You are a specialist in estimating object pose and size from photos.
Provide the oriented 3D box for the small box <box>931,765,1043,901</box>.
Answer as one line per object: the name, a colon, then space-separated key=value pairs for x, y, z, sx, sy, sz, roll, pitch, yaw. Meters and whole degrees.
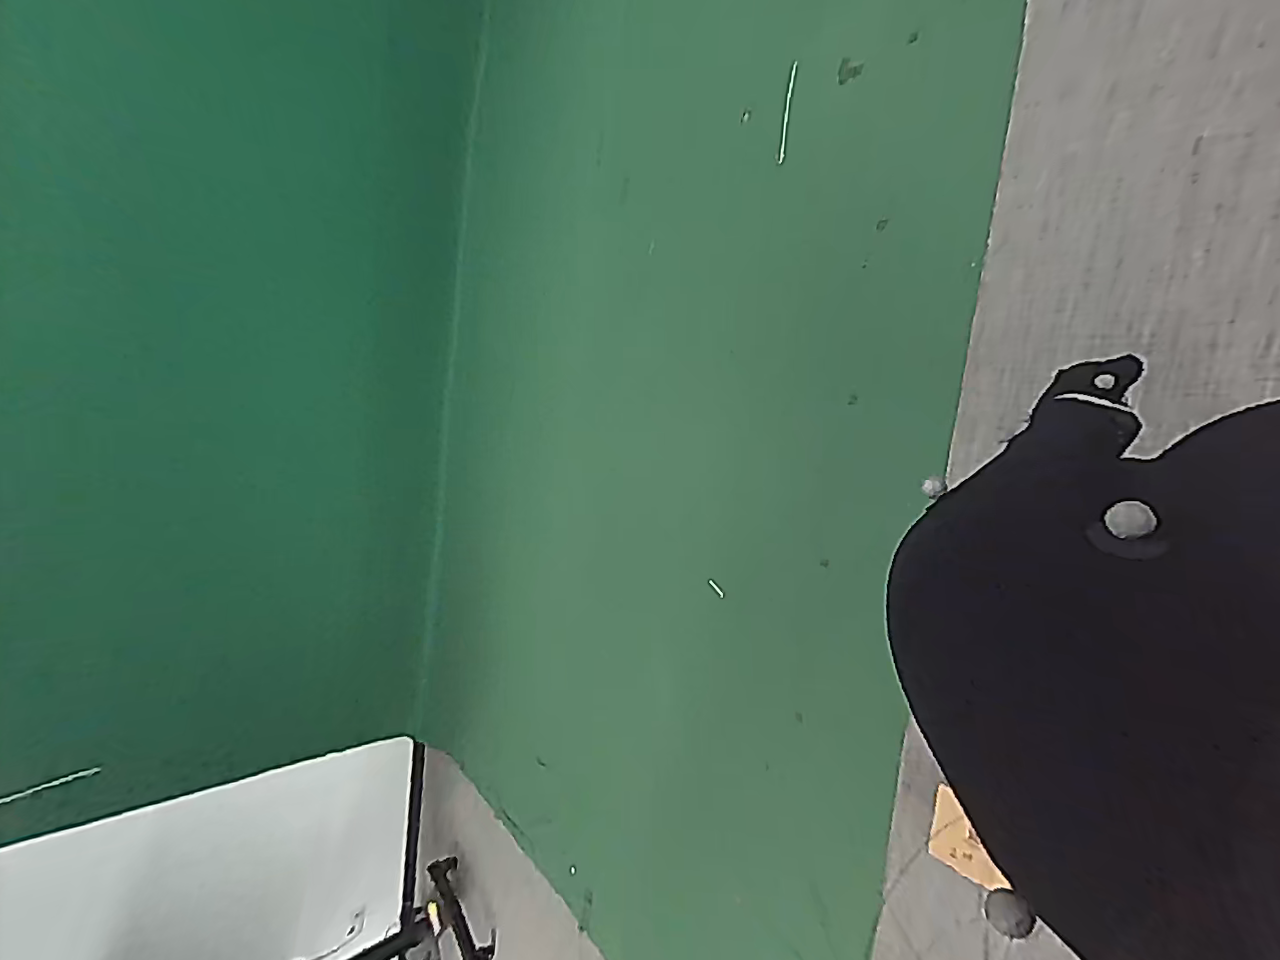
small box: x=0.797 y=0.790 z=1.236 sx=0.168 sy=0.176 sz=0.179 roll=13 pitch=97 yaw=48
